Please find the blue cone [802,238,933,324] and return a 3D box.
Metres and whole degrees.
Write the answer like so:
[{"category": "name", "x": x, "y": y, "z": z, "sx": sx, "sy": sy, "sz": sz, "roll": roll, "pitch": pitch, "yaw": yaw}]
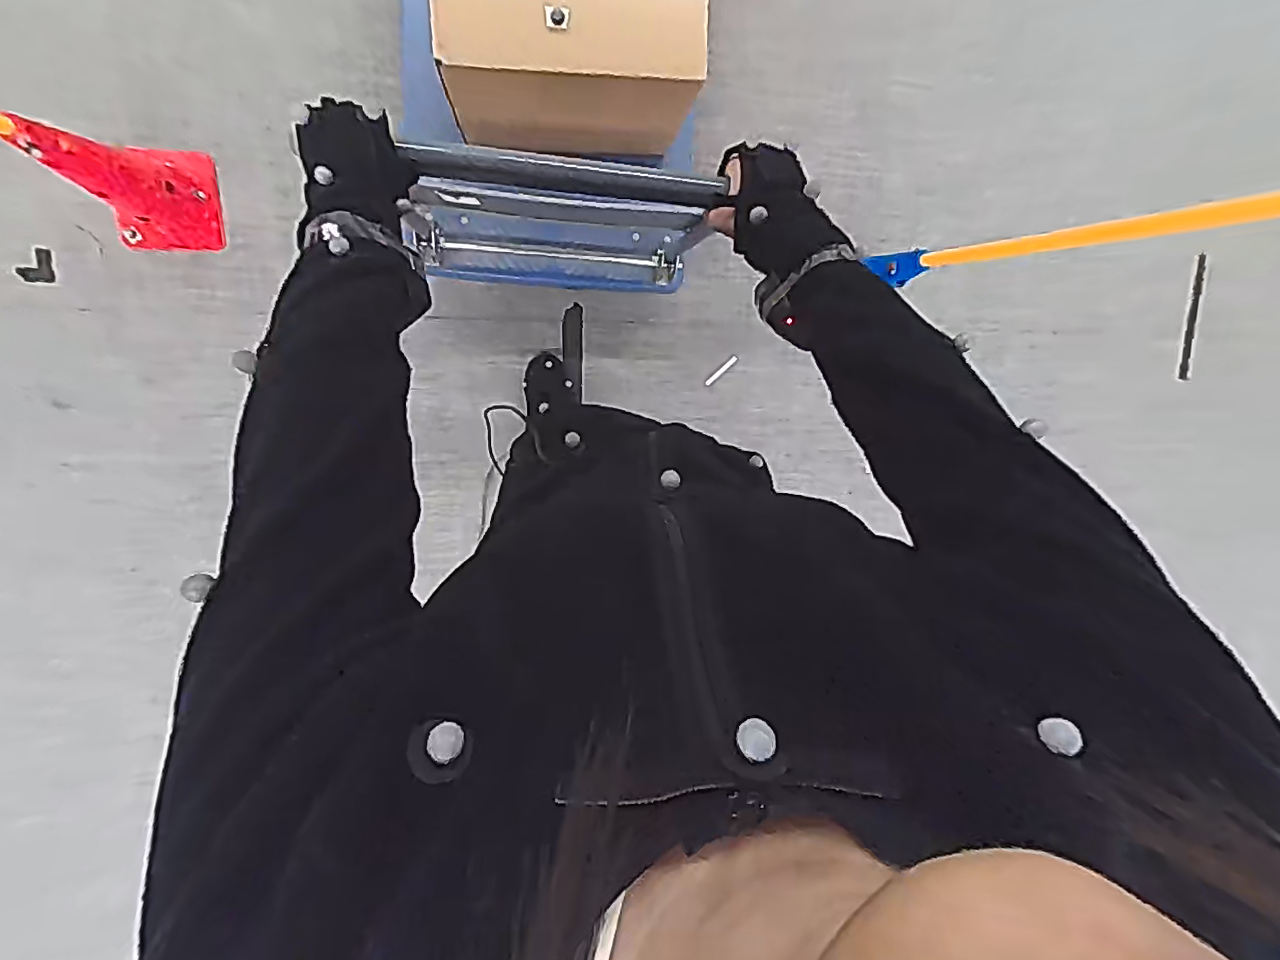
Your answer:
[{"category": "blue cone", "x": 0.545, "y": -0.485, "z": 1.264, "sx": 0.193, "sy": 0.380, "sz": 0.192, "roll": -5, "pitch": 100, "yaw": -9}]
